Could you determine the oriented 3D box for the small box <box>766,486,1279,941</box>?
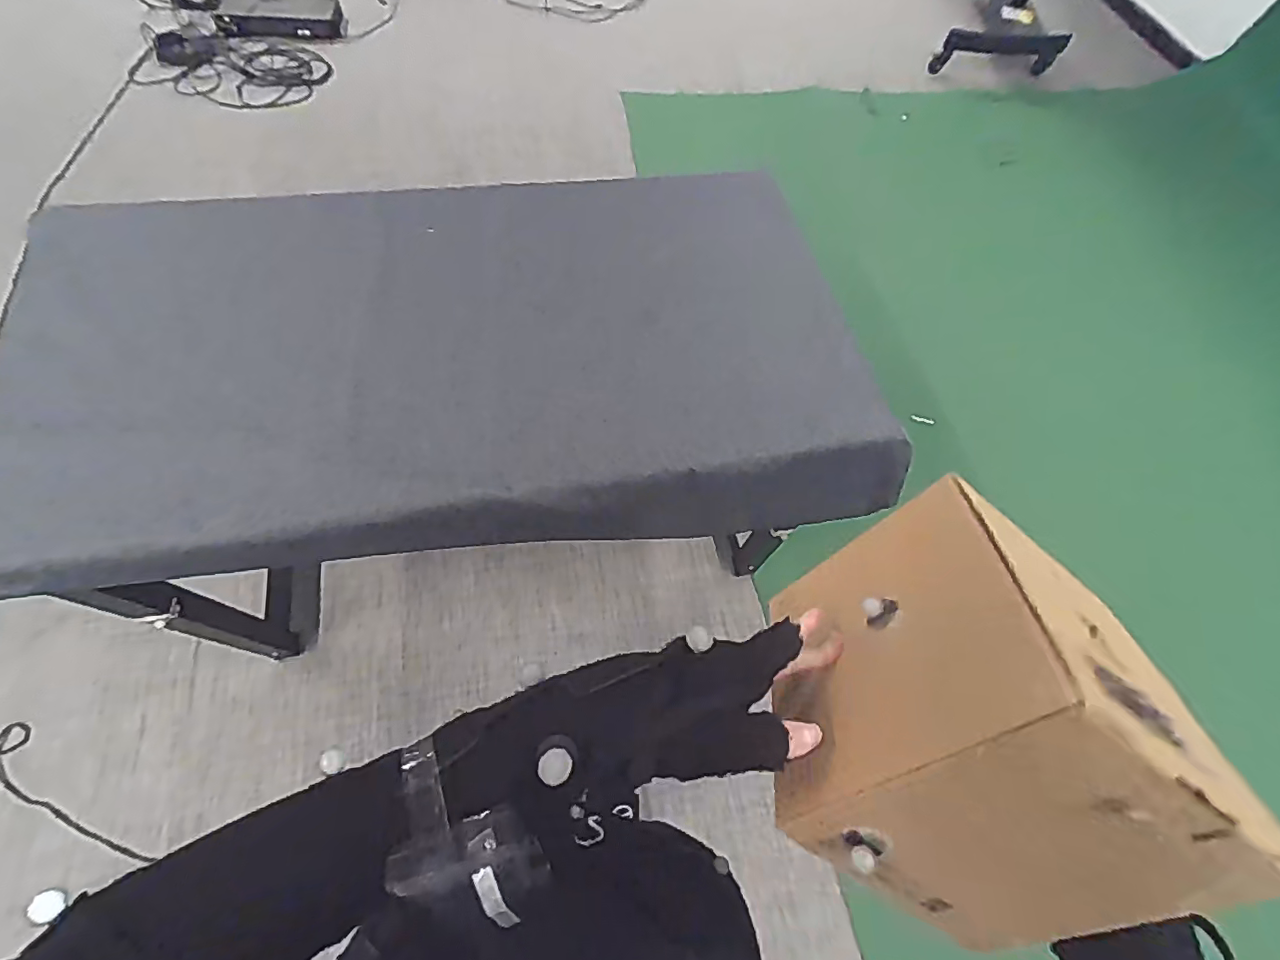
[{"bbox_3d":[0.195,0.144,0.340,0.168,0.176,0.179,38,30,-12],"label":"small box"}]
